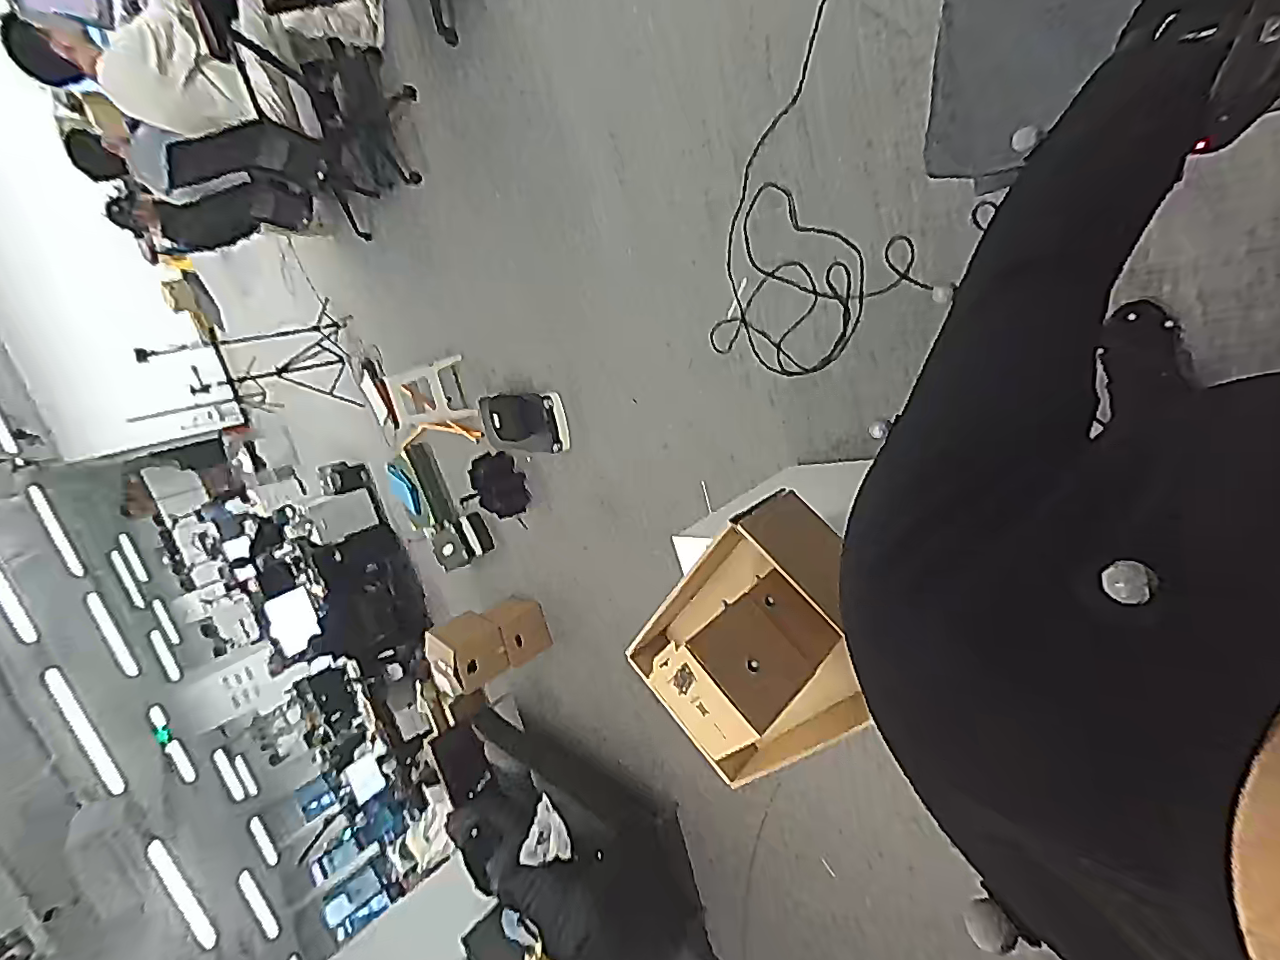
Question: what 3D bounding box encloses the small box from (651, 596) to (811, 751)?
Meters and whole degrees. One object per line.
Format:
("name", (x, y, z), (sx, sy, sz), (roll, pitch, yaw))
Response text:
("small box", (0.156, 0.325, 0.937), (0.179, 0.176, 0.168), (48, 141, 16))
